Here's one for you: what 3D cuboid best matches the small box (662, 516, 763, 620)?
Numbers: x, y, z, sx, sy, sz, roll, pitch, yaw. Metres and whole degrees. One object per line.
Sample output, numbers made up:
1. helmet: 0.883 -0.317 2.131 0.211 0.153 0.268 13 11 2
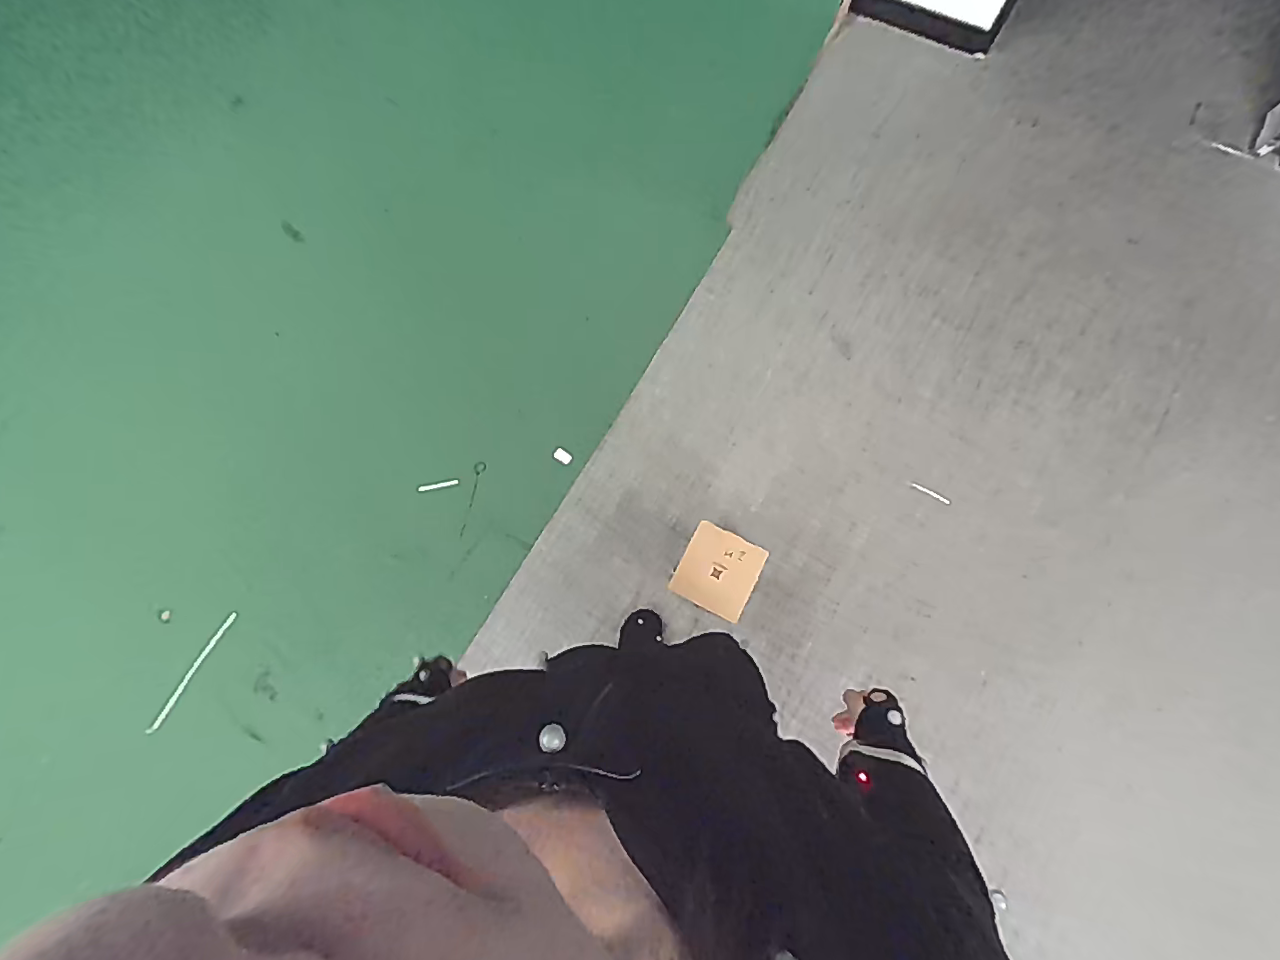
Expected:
1. small box: 0.164 0.206 1.254 0.168 0.176 0.179 28 81 8
